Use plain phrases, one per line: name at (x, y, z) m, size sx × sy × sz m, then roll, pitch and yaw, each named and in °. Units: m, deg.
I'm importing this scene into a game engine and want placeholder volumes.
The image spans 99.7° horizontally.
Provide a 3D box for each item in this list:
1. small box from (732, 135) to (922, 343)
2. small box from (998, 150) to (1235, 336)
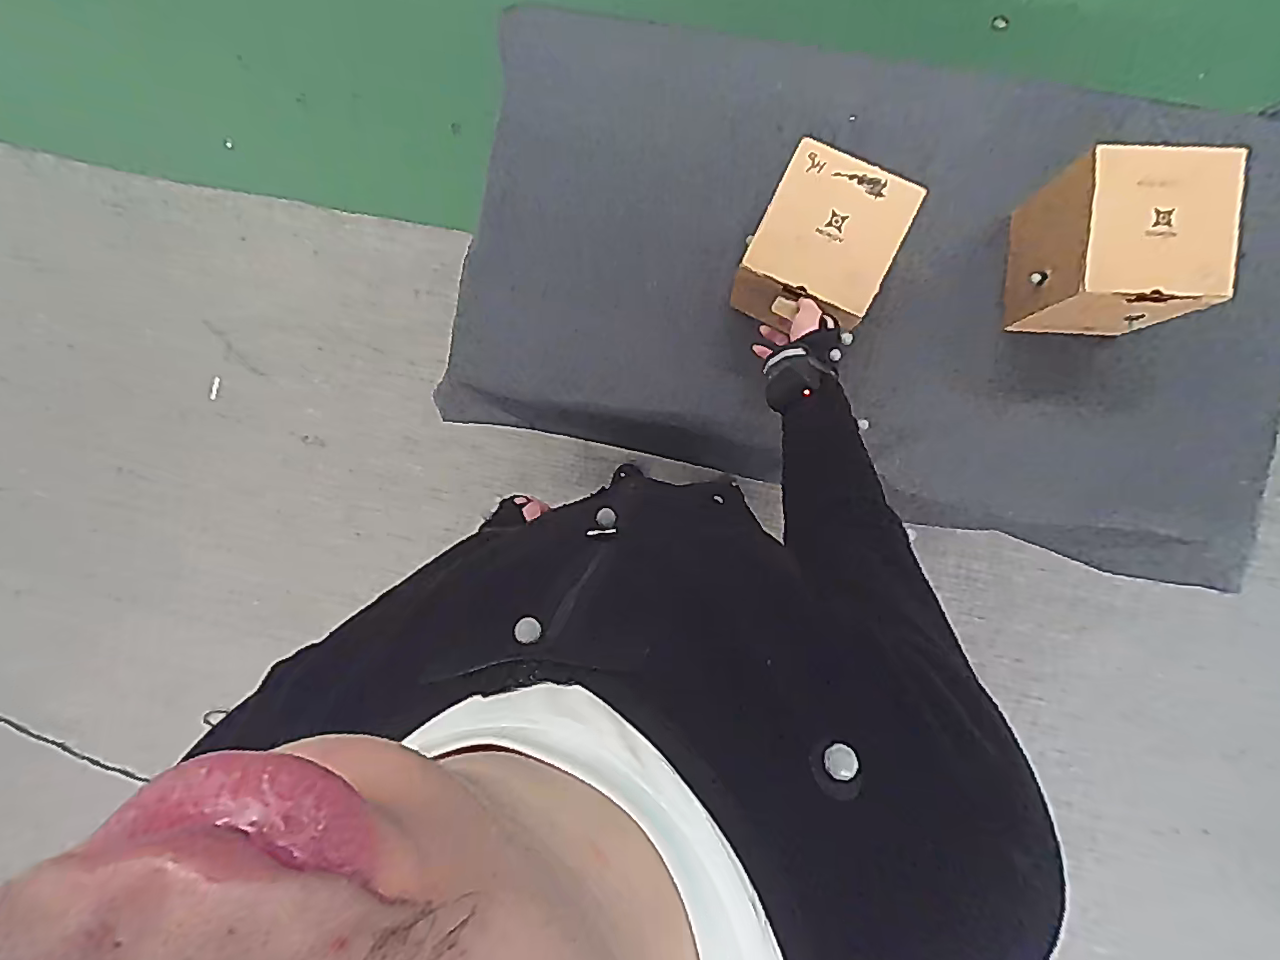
small box at (0.237, -0.310, 0.738) m, size 0.168 × 0.176 × 0.179 m, roll 28°, pitch 93°, yaw 2°
small box at (0.609, -0.298, 0.715) m, size 0.168 × 0.176 × 0.179 m, roll 4°, pitch 90°, yaw 3°
